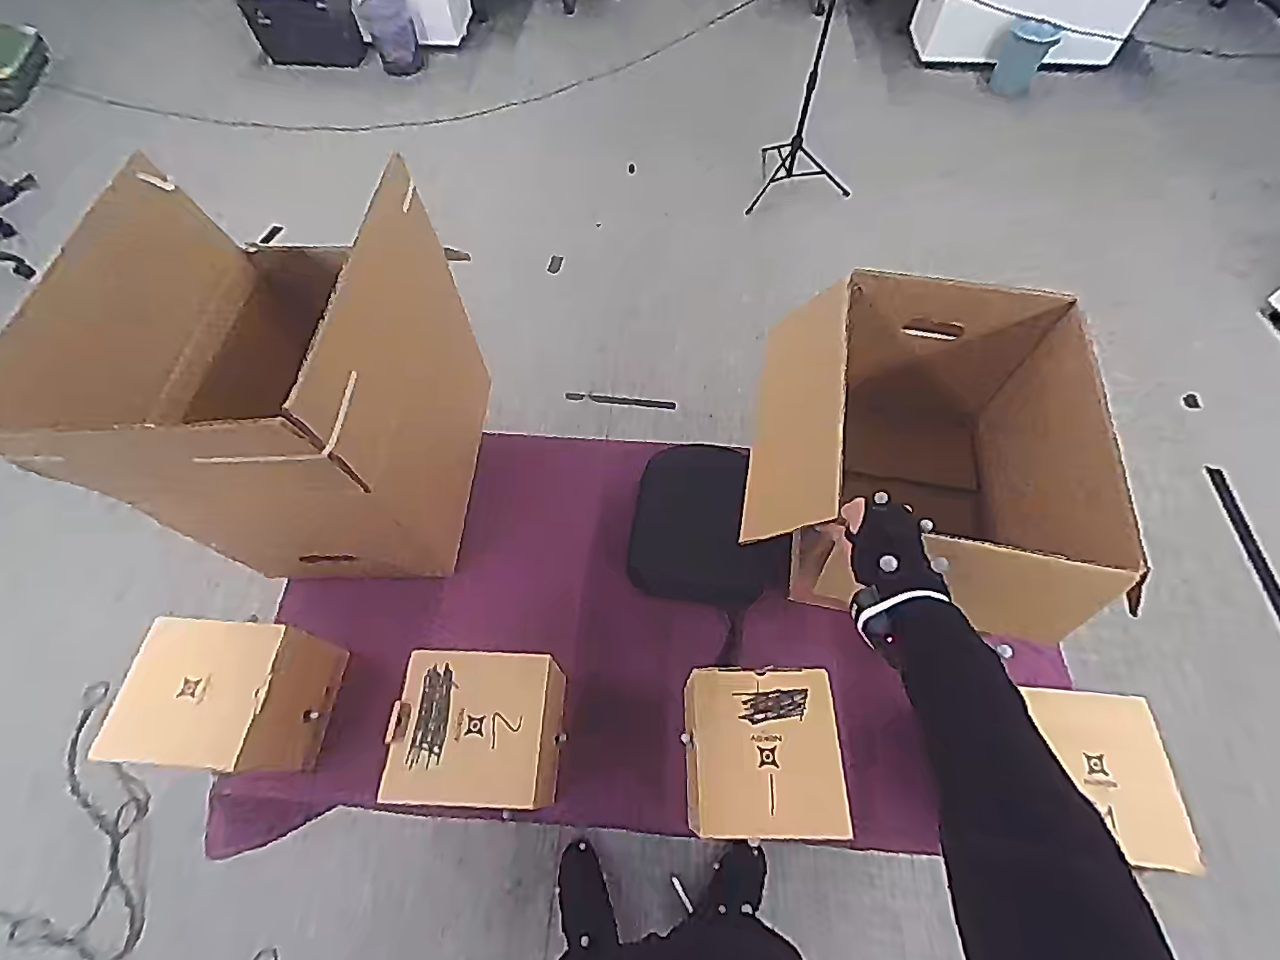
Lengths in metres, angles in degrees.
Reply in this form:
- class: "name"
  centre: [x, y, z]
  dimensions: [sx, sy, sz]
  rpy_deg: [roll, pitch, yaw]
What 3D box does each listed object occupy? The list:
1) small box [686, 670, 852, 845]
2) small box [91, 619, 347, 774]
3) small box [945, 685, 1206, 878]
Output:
- class: "small box"
  centre: [0.146, 0.346, 0.683]
  dimensions: [0.168, 0.176, 0.179]
  rpy_deg: [0, 62, 1]
- class: "small box"
  centre: [-0.535, 0.293, 0.721]
  dimensions: [0.179, 0.176, 0.168]
  rpy_deg: [3, 61, 1]
- class: "small box"
  centre: [0.505, 0.365, 0.666]
  dimensions: [0.168, 0.176, 0.179]
  rpy_deg: [4, 60, 4]
